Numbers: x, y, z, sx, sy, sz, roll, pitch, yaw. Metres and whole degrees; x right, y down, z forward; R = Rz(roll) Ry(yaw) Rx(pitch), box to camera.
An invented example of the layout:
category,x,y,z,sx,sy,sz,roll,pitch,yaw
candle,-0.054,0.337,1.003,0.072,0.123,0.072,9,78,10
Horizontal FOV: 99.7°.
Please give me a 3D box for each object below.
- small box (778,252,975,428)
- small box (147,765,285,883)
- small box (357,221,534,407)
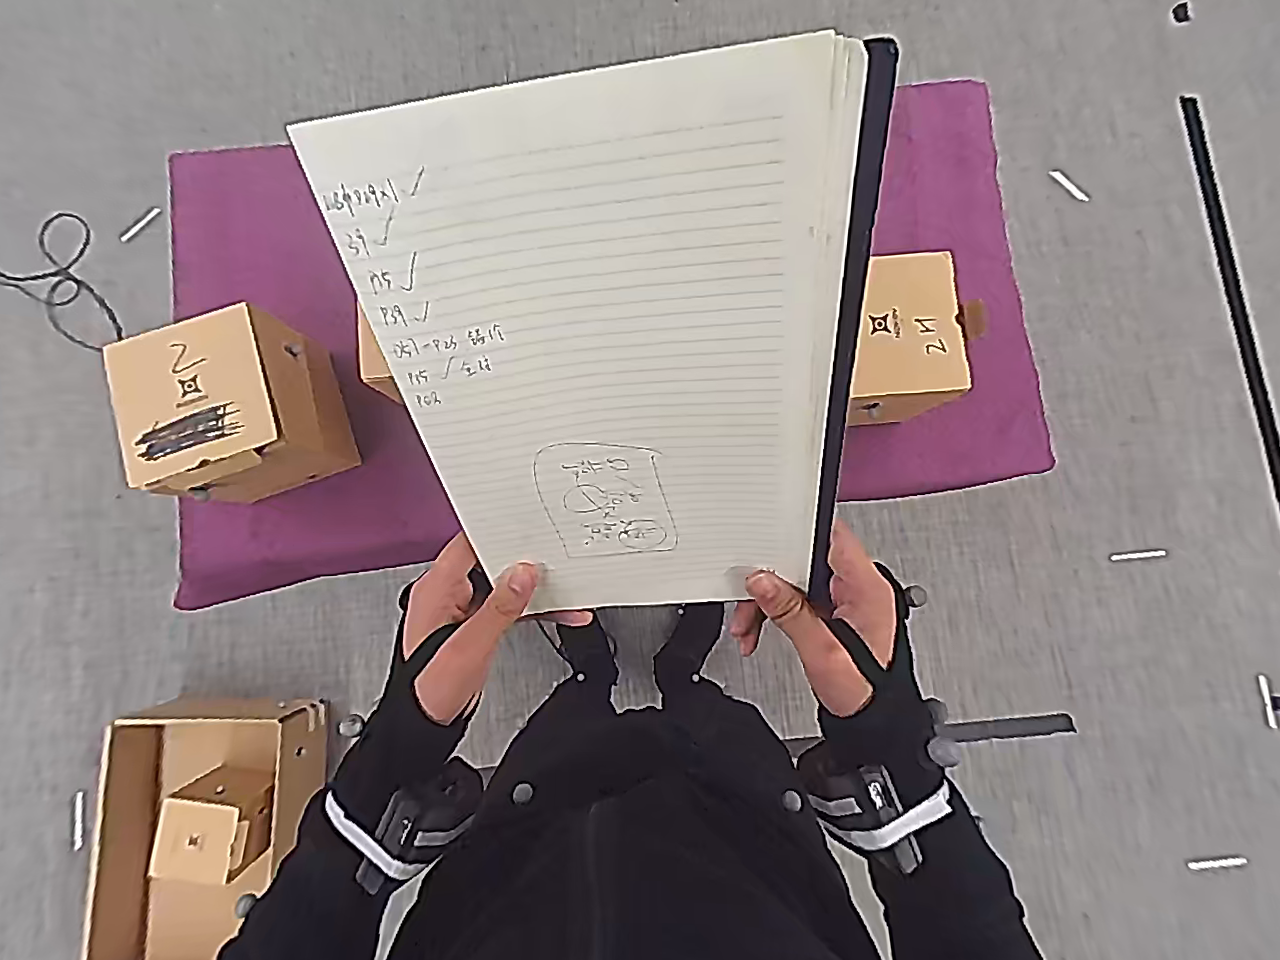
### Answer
category,x,y,z,sx,sy,sz,roll,pitch,yaw
small box,0.280,-0.164,0.684,0.179,0.176,0.168,-4,84,-1
small box,-0.971,0.788,1.255,0.179,0.176,0.168,8,84,0
small box,-0.233,-0.195,0.685,0.168,0.176,0.179,-5,83,-1
